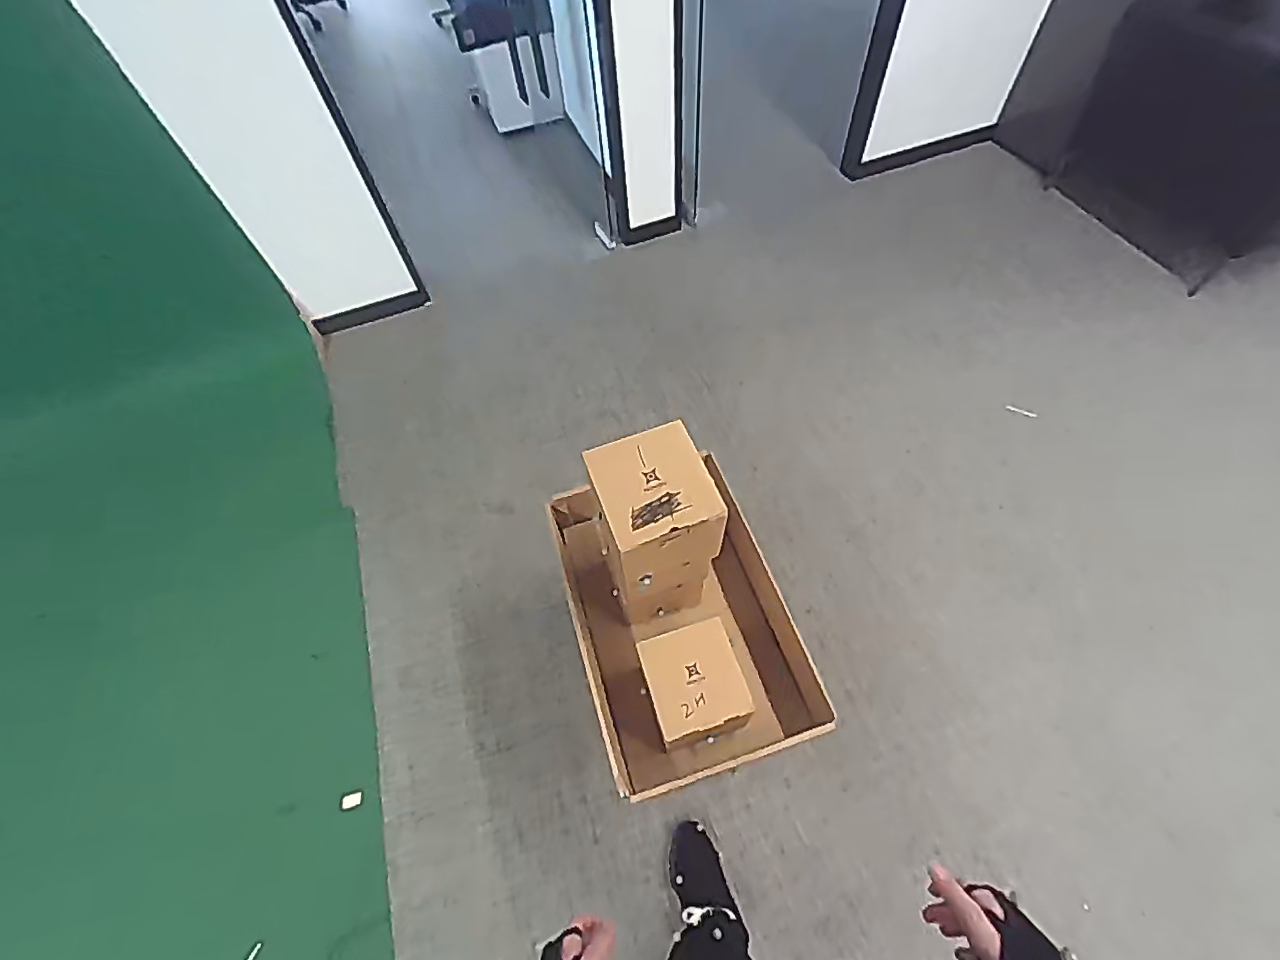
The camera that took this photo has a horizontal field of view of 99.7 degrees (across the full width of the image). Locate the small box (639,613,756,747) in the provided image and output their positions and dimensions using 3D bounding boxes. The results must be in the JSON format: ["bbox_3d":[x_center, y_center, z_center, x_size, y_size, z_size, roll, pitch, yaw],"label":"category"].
[{"bbox_3d":[0.102,0.379,1.017,0.168,0.176,0.179,-17,58,-5],"label":"small box"}]

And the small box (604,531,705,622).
[{"bbox_3d":[0.028,0.179,1.153,0.168,0.176,0.179,-18,62,-7],"label":"small box"}]

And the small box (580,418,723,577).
[{"bbox_3d":[0.019,0.038,0.855,0.168,0.176,0.179,-20,61,-8],"label":"small box"}]
